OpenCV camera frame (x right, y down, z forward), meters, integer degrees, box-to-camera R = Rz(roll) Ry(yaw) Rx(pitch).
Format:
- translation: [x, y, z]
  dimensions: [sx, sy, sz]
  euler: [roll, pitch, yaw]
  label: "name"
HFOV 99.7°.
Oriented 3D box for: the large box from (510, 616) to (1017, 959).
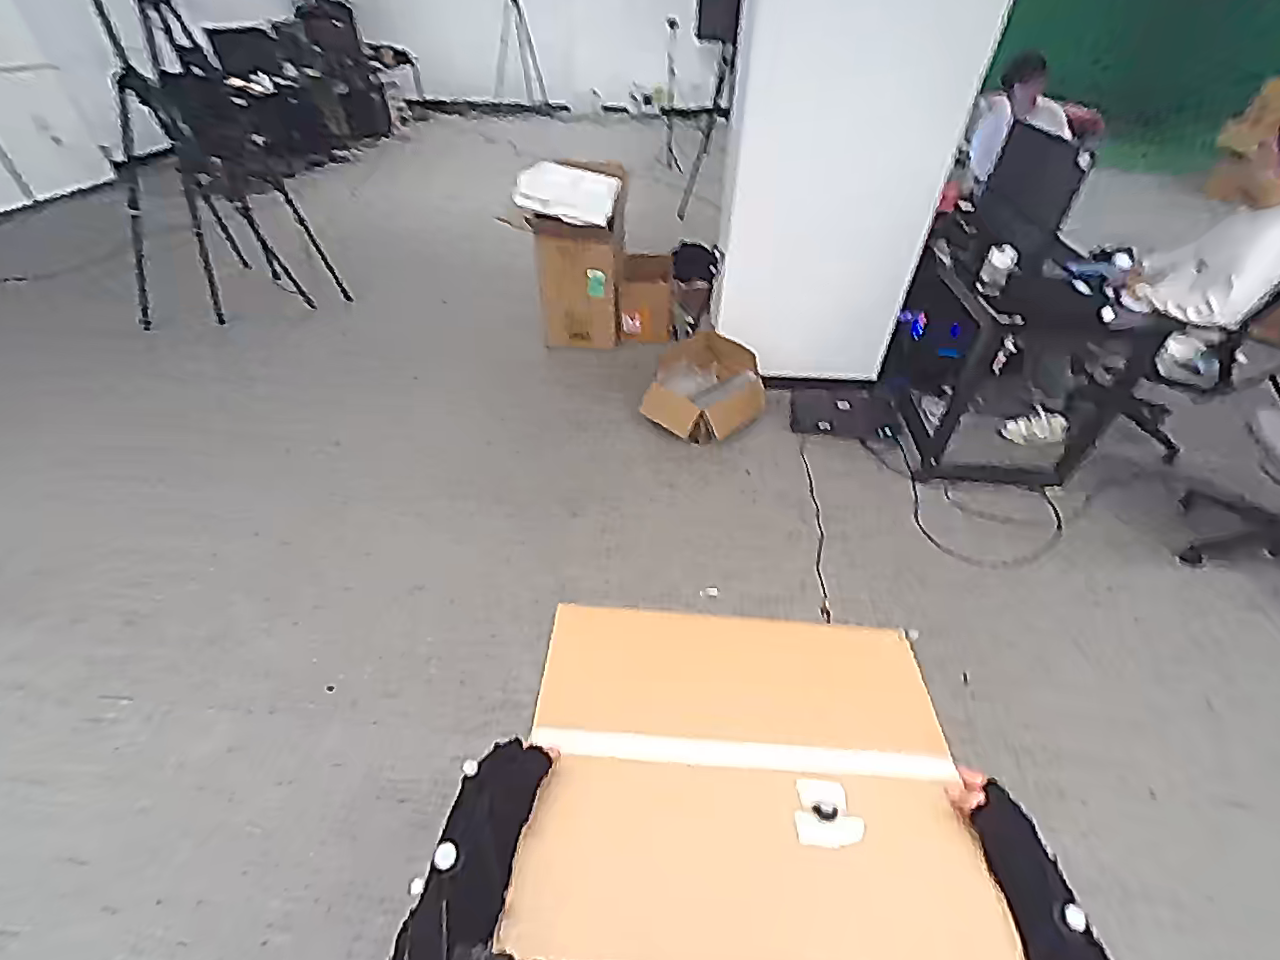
- translation: [0.090, 0.385, 0.620]
  dimensions: [0.408, 0.320, 0.320]
  euler: [4, 40, 0]
  label: "large box"
